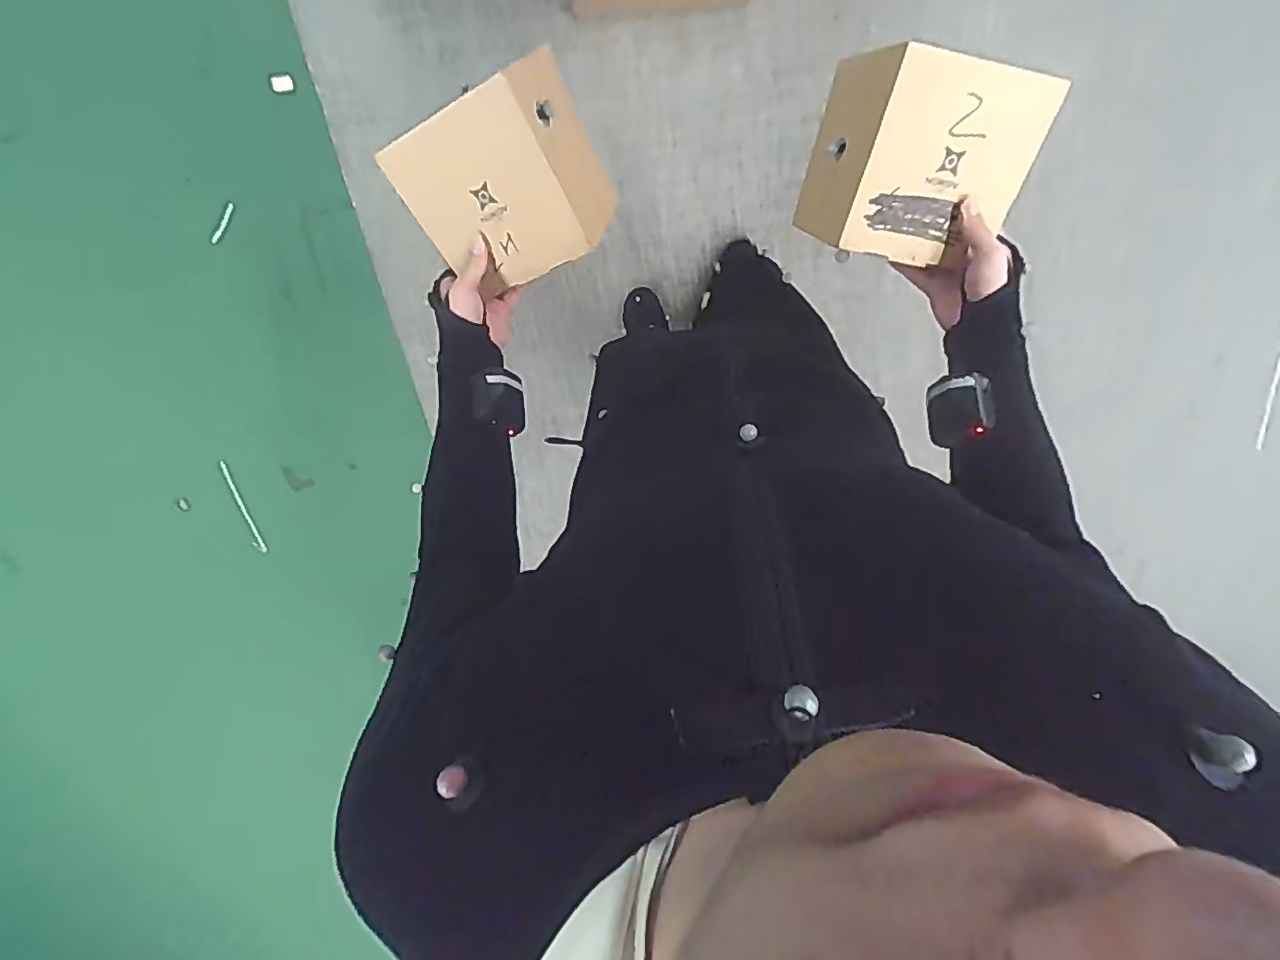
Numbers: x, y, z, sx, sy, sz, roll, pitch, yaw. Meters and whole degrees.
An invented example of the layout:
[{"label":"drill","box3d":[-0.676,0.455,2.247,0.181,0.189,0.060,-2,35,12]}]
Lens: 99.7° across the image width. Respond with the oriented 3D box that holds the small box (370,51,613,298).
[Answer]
[{"label":"small box","box3d":[-0.148,-0.342,0.604,0.168,0.176,0.179,-13,131,23]}]
